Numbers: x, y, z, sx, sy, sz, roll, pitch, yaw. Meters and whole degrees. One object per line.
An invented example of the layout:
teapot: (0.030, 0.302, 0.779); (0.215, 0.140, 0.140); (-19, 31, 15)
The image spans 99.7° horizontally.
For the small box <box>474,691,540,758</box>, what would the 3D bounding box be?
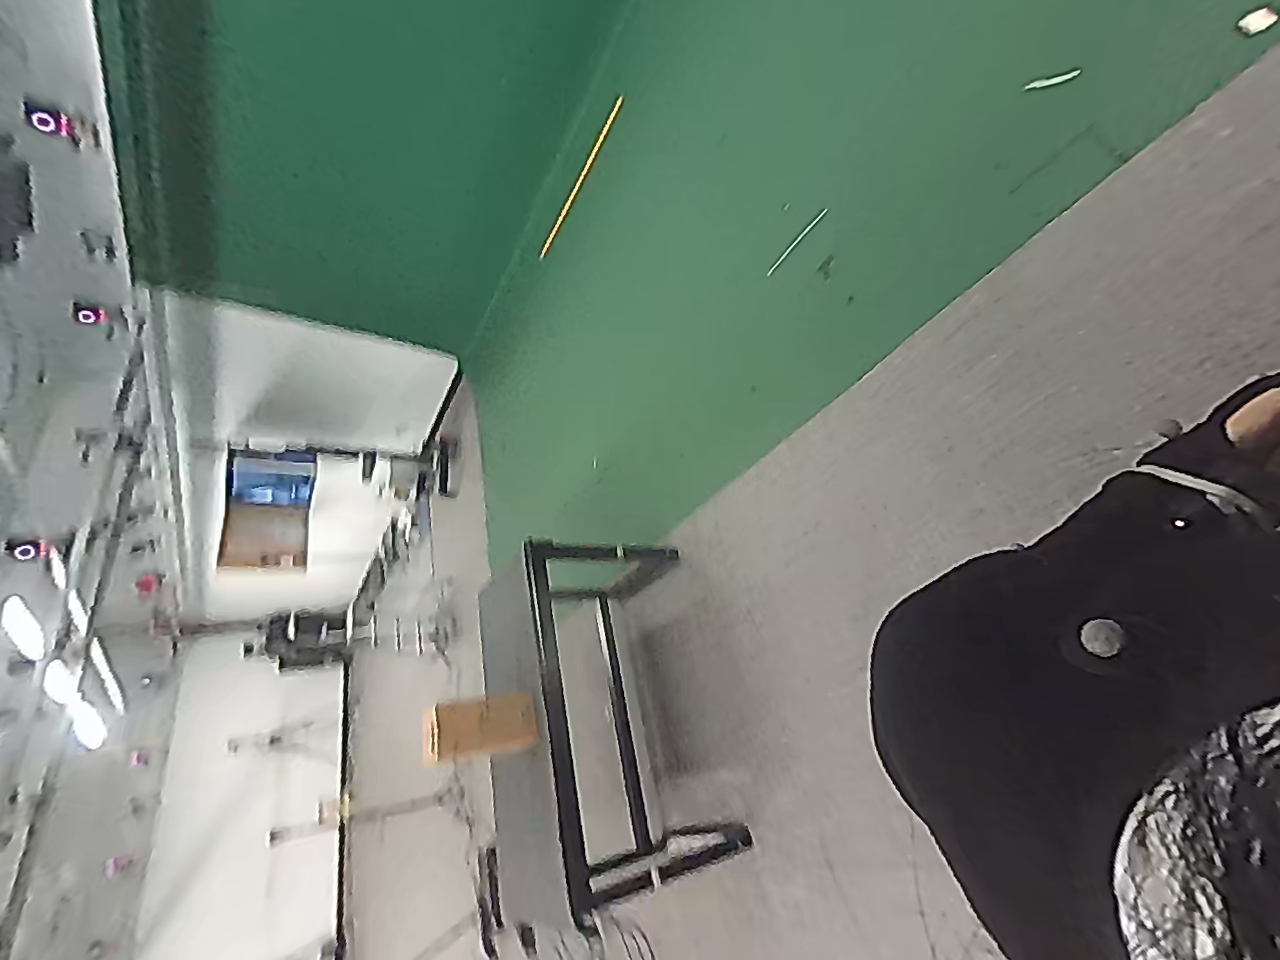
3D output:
small box: (-0.460, 0.843, 1.867); (0.179, 0.176, 0.168); (-47, 48, 42)
